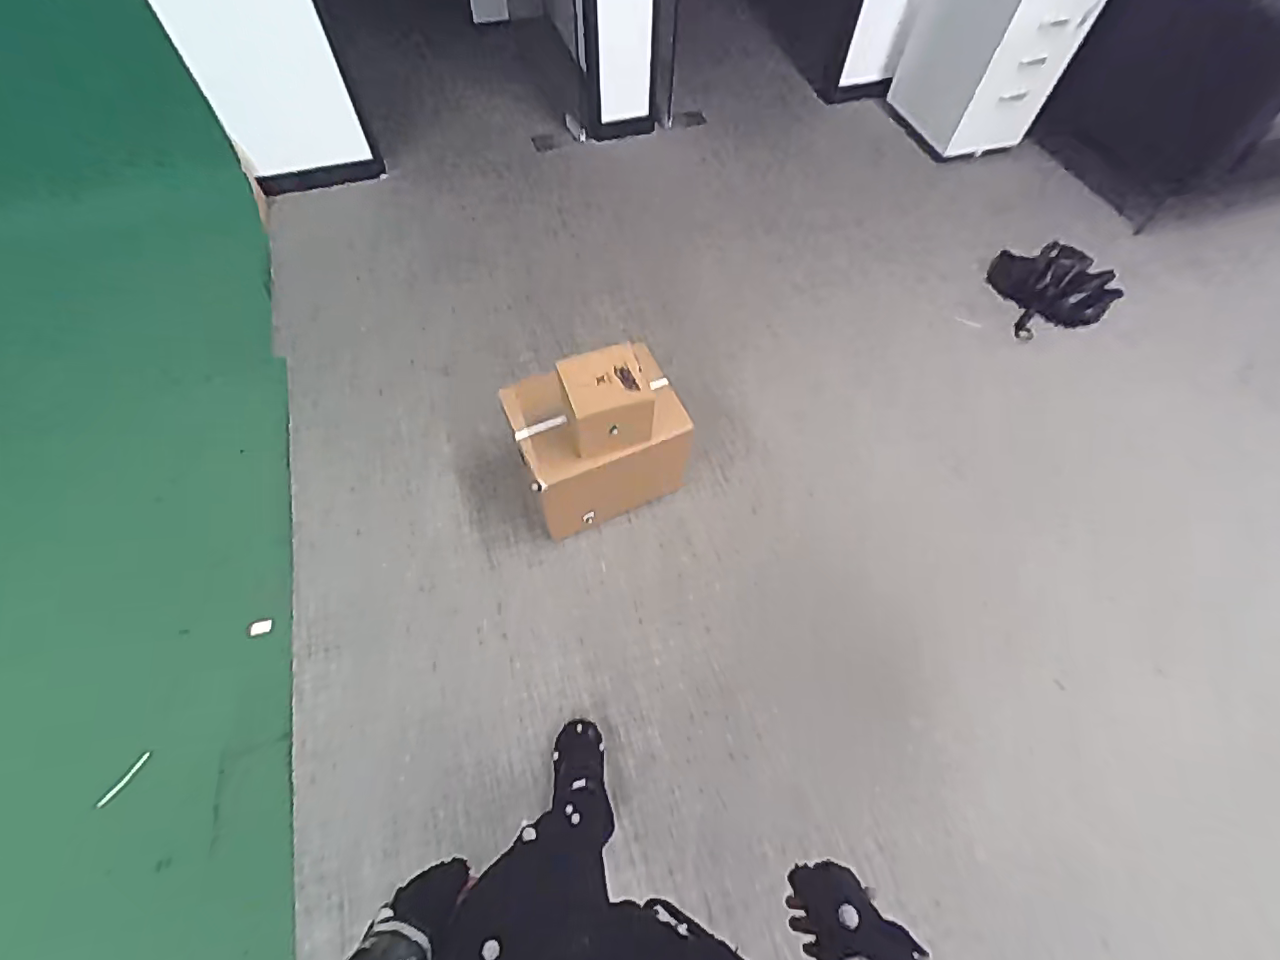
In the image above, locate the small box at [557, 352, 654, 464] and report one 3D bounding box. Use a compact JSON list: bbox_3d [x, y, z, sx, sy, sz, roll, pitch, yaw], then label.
[{"bbox_3d":[-0.080,-0.162,1.246,0.179,0.176,0.168,-17,63,-11],"label":"small box"}]
